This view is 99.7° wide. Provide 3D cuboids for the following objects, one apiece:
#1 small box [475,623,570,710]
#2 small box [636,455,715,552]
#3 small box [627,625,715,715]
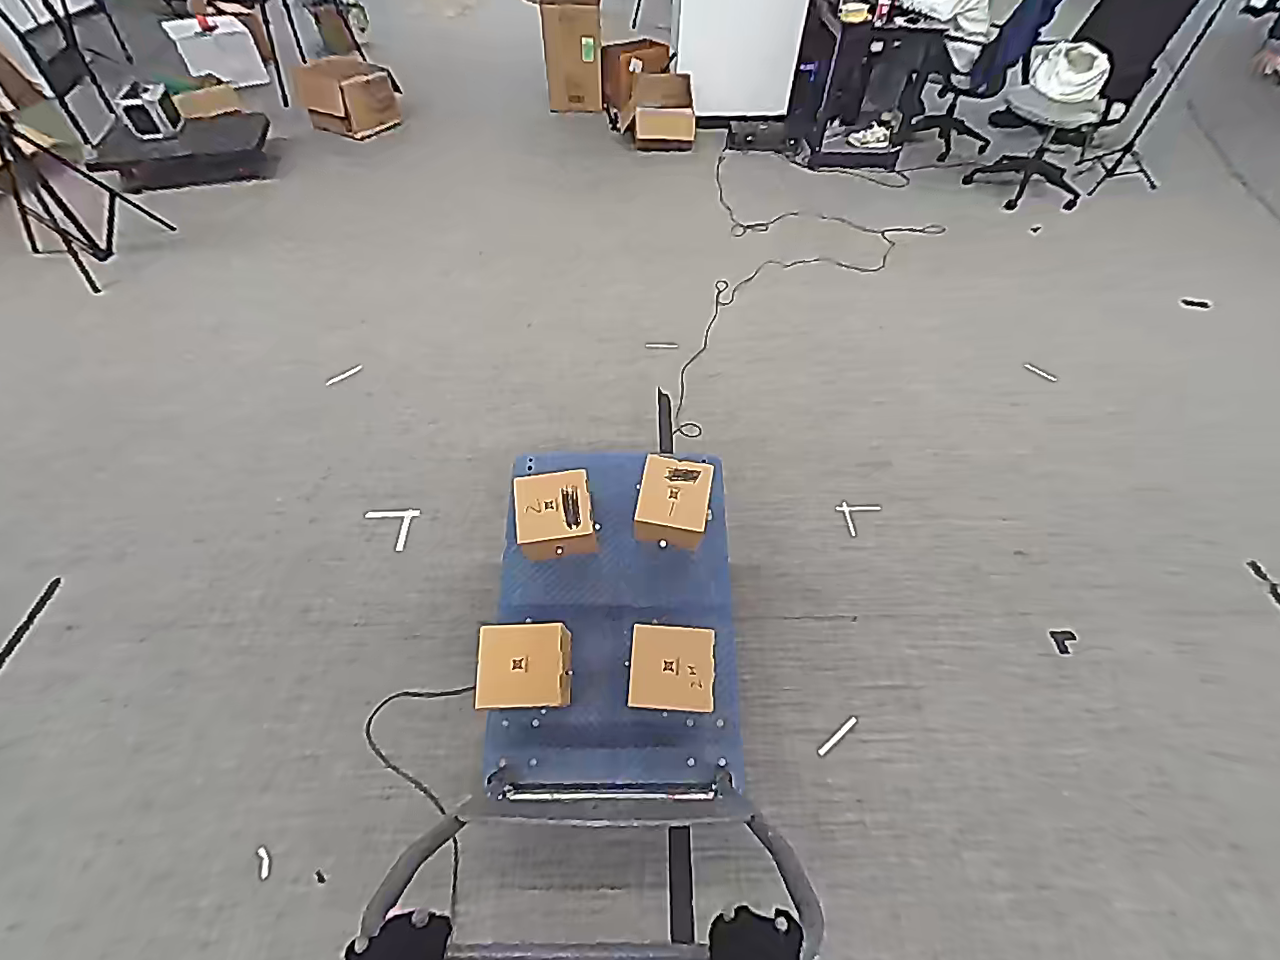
[{"bbox_3d":[-0.251,0.415,1.193,0.179,0.176,0.168,-1,66,-3],"label":"small box"},{"bbox_3d":[0.085,0.063,1.351,0.168,0.176,0.179,11,68,4],"label":"small box"},{"bbox_3d":[0.067,0.422,1.193,0.179,0.176,0.168,5,67,1],"label":"small box"}]
